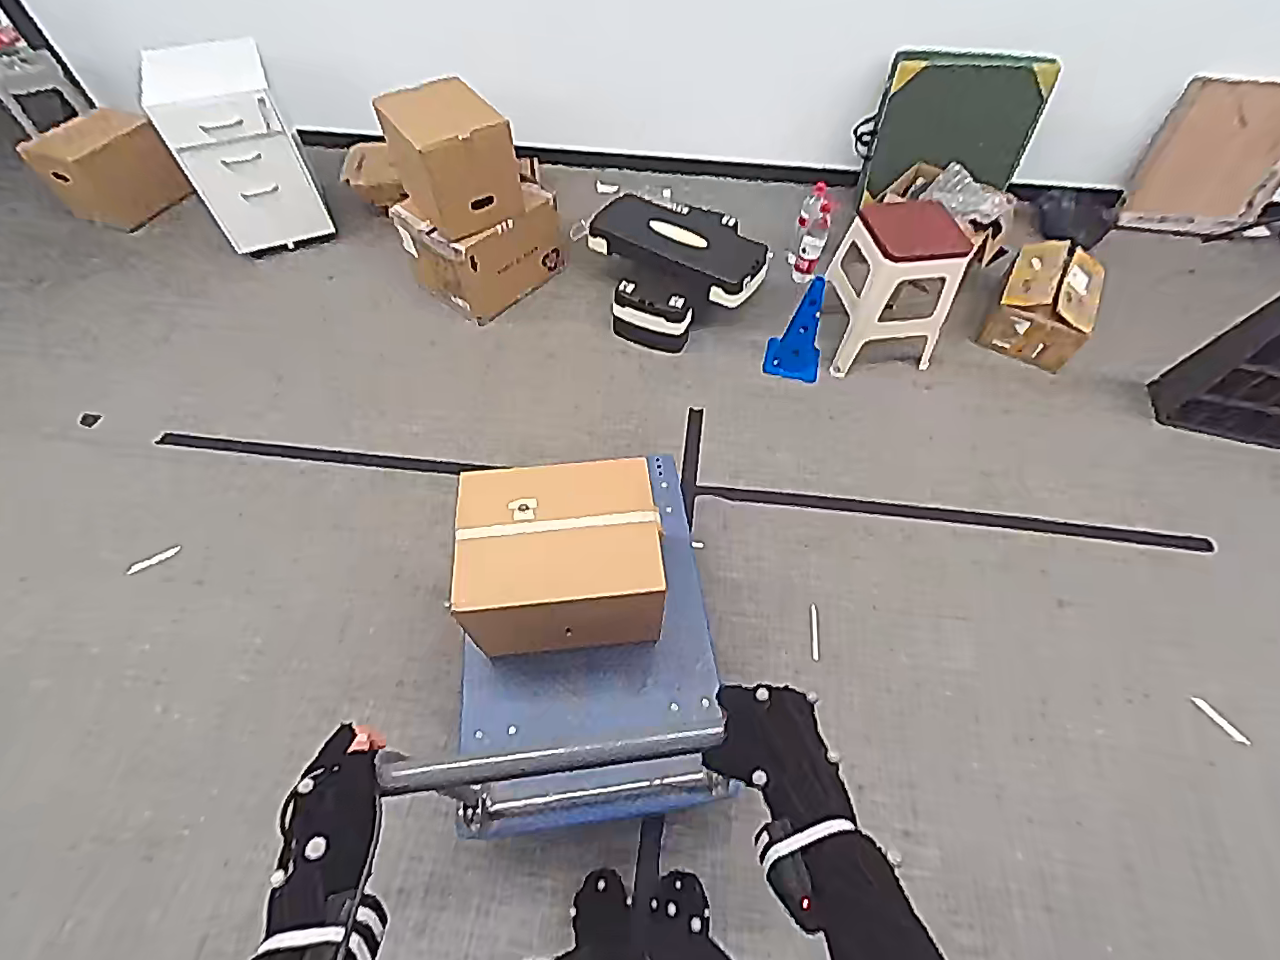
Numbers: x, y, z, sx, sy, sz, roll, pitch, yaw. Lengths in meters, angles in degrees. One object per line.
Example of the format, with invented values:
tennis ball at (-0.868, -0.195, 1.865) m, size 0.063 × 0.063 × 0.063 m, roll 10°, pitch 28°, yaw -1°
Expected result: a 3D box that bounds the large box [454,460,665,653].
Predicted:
large box at (-0.166, 0.180, 1.222) m, size 0.408 × 0.320 × 0.320 m, roll -5°, pitch 57°, yaw -4°
